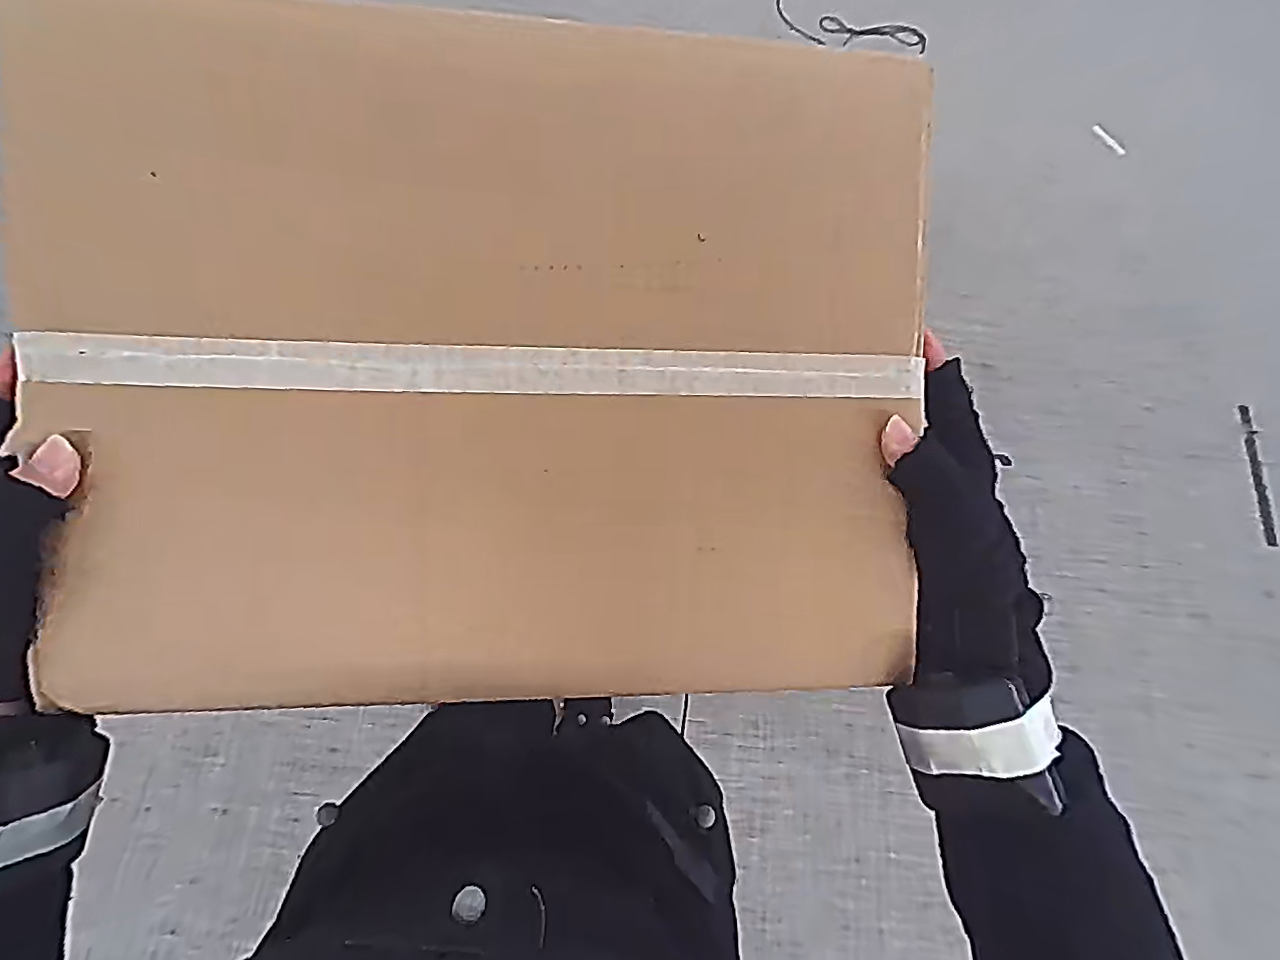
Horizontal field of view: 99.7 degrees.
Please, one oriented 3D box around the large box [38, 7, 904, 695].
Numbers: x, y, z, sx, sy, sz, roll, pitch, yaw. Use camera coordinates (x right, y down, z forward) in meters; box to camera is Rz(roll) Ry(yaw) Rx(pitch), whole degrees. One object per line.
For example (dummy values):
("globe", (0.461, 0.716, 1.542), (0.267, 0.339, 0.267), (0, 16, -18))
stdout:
("large box", (-0.078, -0.062, 0.410), (0.408, 0.320, 0.320), (1, 93, -6))
